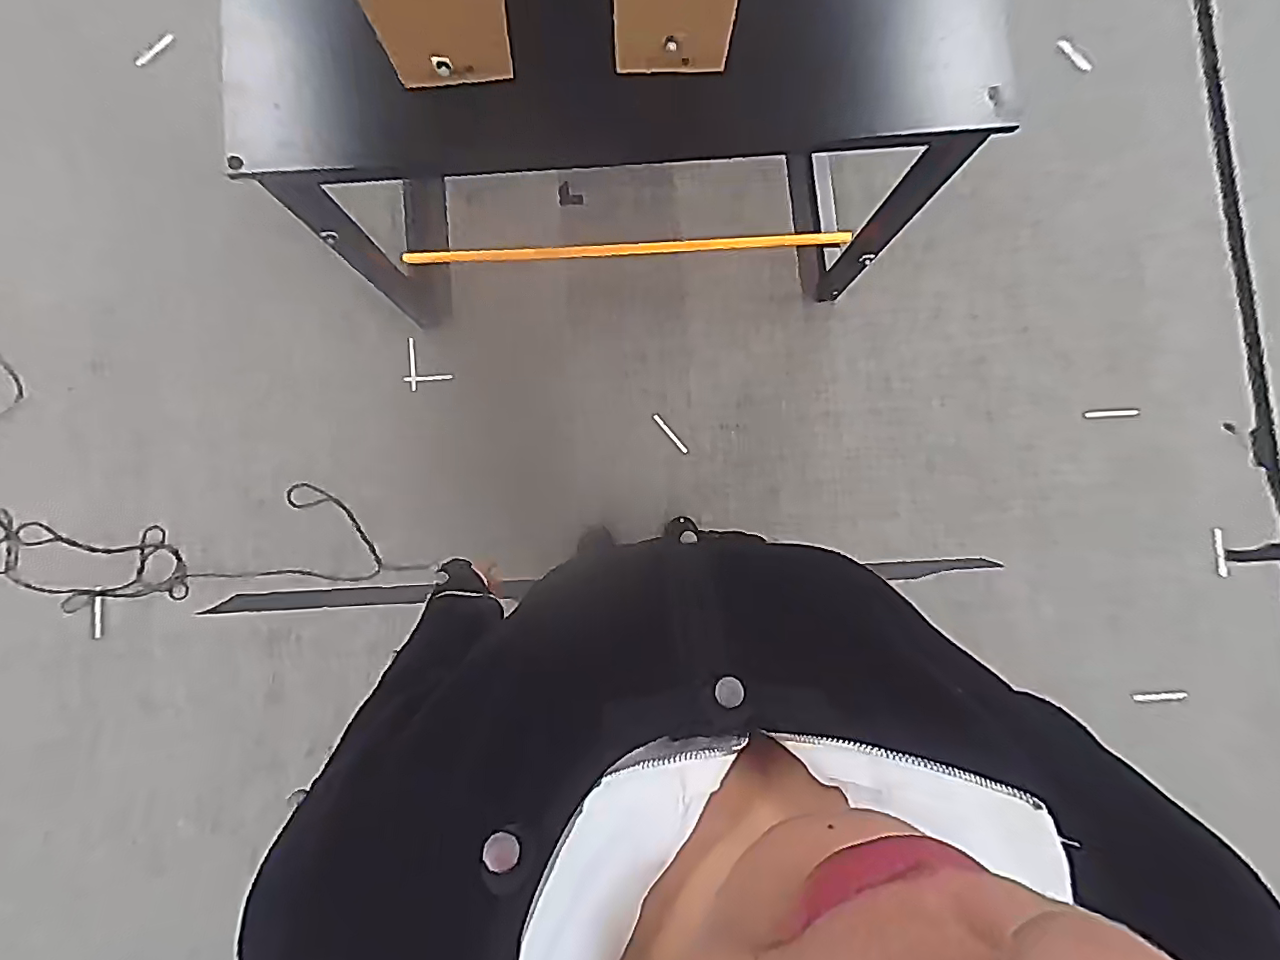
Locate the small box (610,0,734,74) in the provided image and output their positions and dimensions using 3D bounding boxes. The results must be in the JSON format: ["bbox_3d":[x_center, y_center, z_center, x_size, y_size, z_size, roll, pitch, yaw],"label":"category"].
[{"bbox_3d":[0.041,-0.716,0.752,0.168,0.176,0.179,-1,86,-1],"label":"small box"}]

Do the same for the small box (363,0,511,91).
[{"bbox_3d":[-0.285,-0.689,0.746,0.168,0.176,0.179,-8,87,-1],"label":"small box"}]
